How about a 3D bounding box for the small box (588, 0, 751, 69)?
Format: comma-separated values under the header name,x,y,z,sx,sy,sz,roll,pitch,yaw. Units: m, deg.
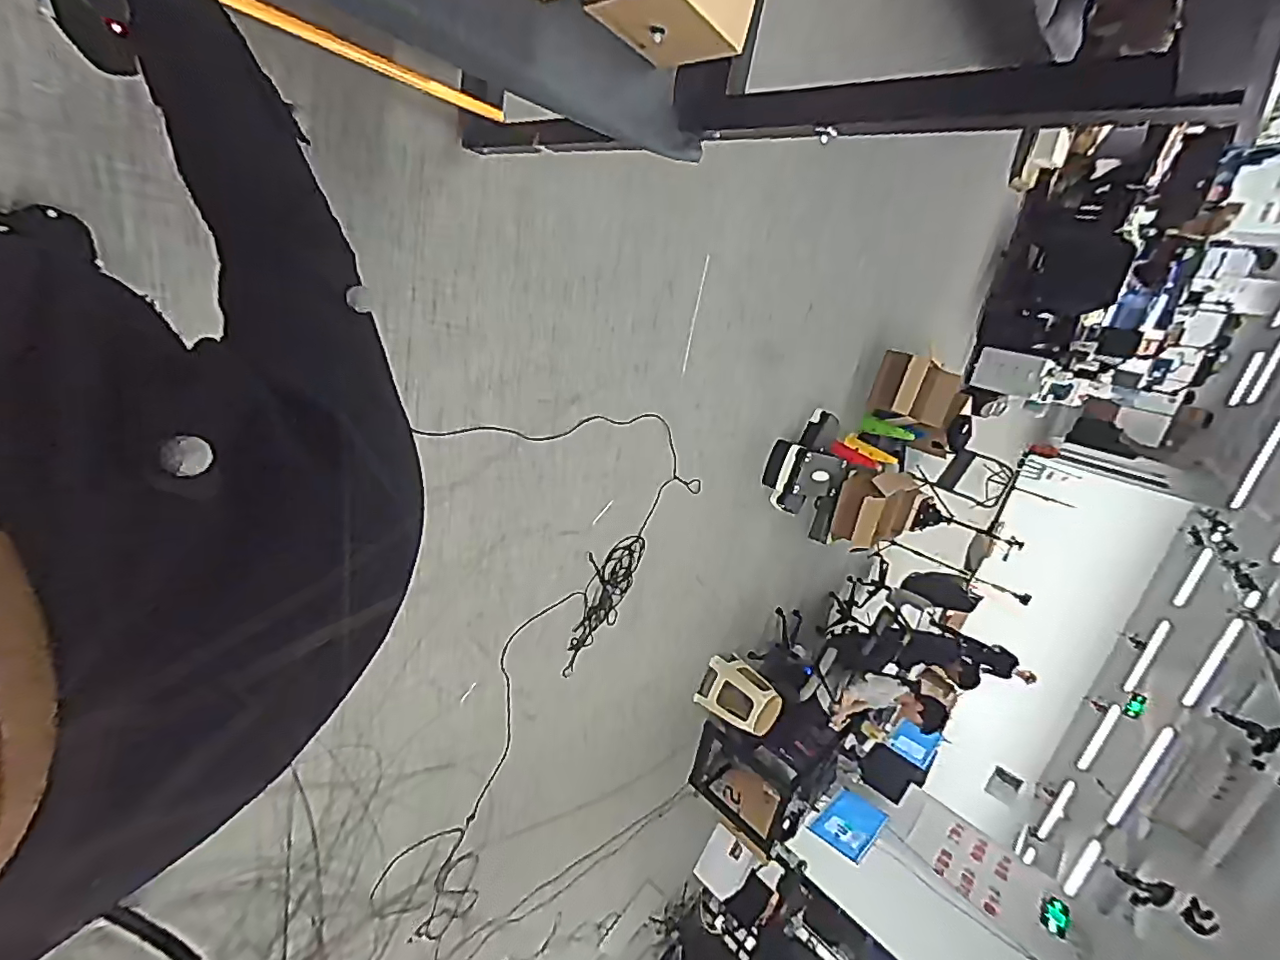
name,x,y,z,sx,sy,sz,roll,pitch,yaw
small box,0.045,-0.707,0.744,0.168,0.176,0.179,-3,112,-48
